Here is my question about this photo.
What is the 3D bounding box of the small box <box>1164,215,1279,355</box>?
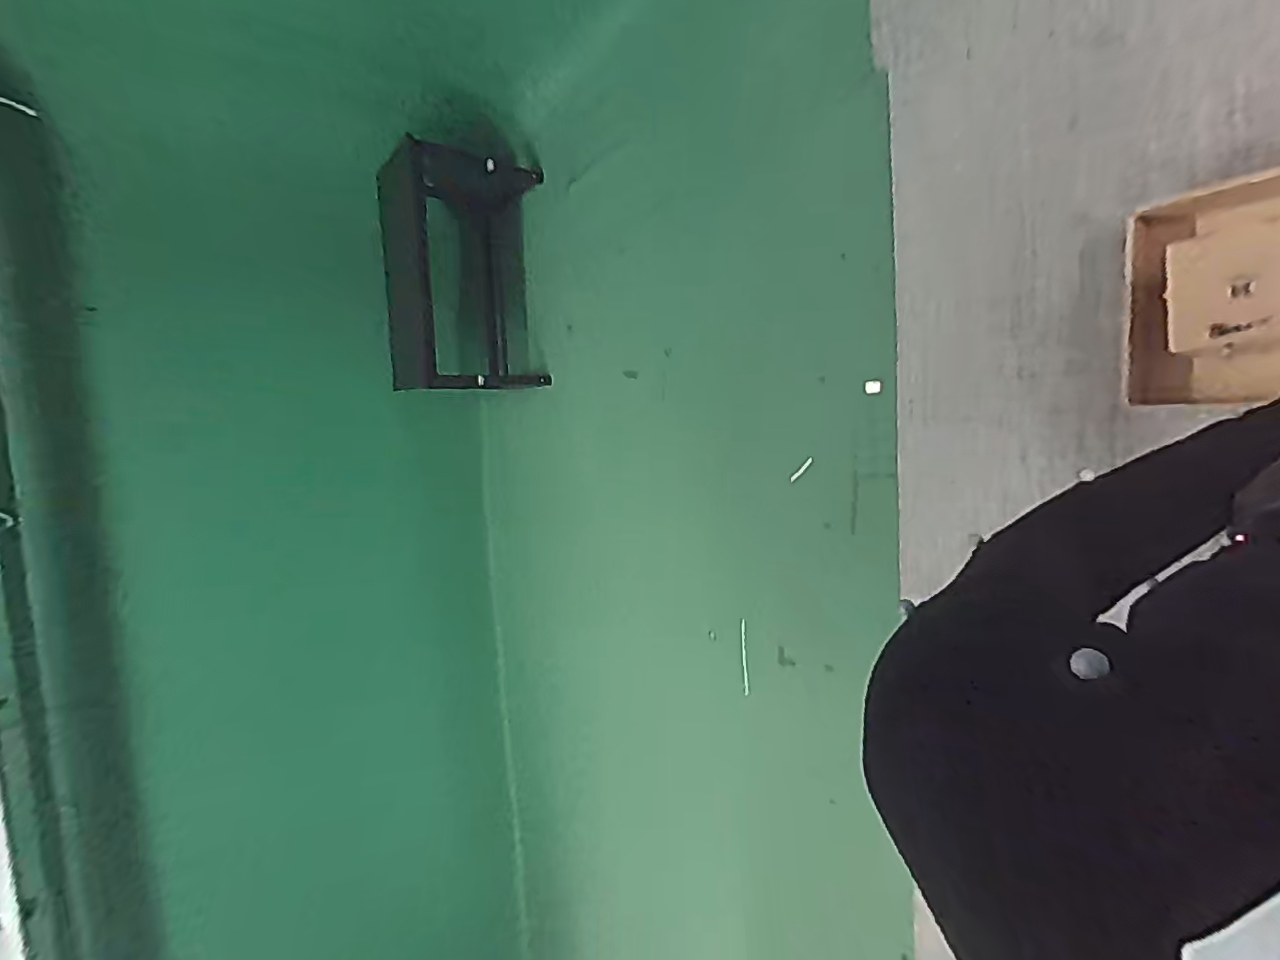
[{"bbox_3d":[0.975,-0.308,0.877,0.168,0.176,0.179,0,95,51],"label":"small box"}]
